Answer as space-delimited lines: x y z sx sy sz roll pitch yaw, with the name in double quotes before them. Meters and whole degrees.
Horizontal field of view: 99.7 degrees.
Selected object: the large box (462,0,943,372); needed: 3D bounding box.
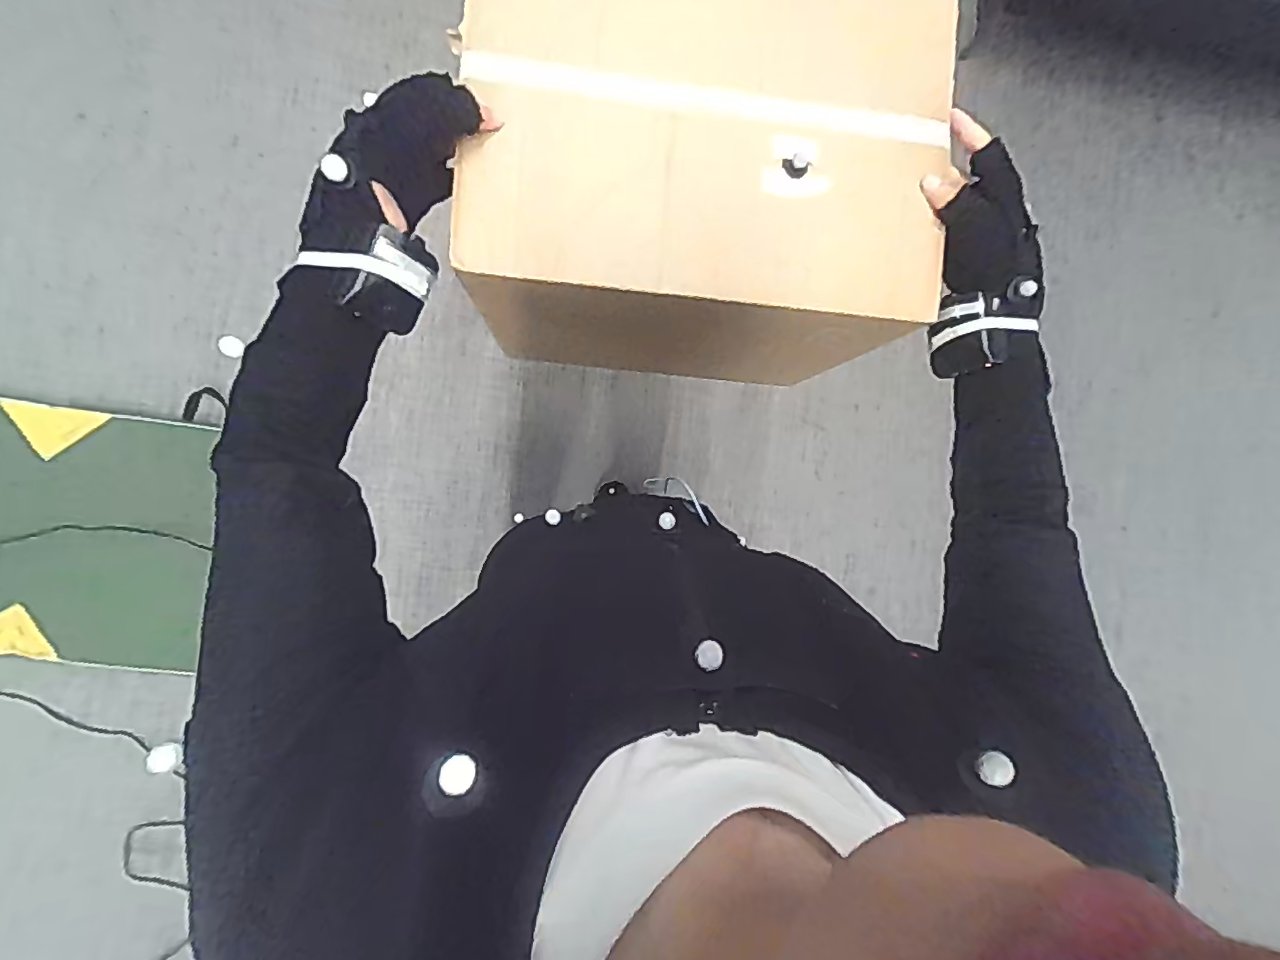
"large box" 0.042 -0.311 0.592 0.408 0.320 0.320 3 90 -8
